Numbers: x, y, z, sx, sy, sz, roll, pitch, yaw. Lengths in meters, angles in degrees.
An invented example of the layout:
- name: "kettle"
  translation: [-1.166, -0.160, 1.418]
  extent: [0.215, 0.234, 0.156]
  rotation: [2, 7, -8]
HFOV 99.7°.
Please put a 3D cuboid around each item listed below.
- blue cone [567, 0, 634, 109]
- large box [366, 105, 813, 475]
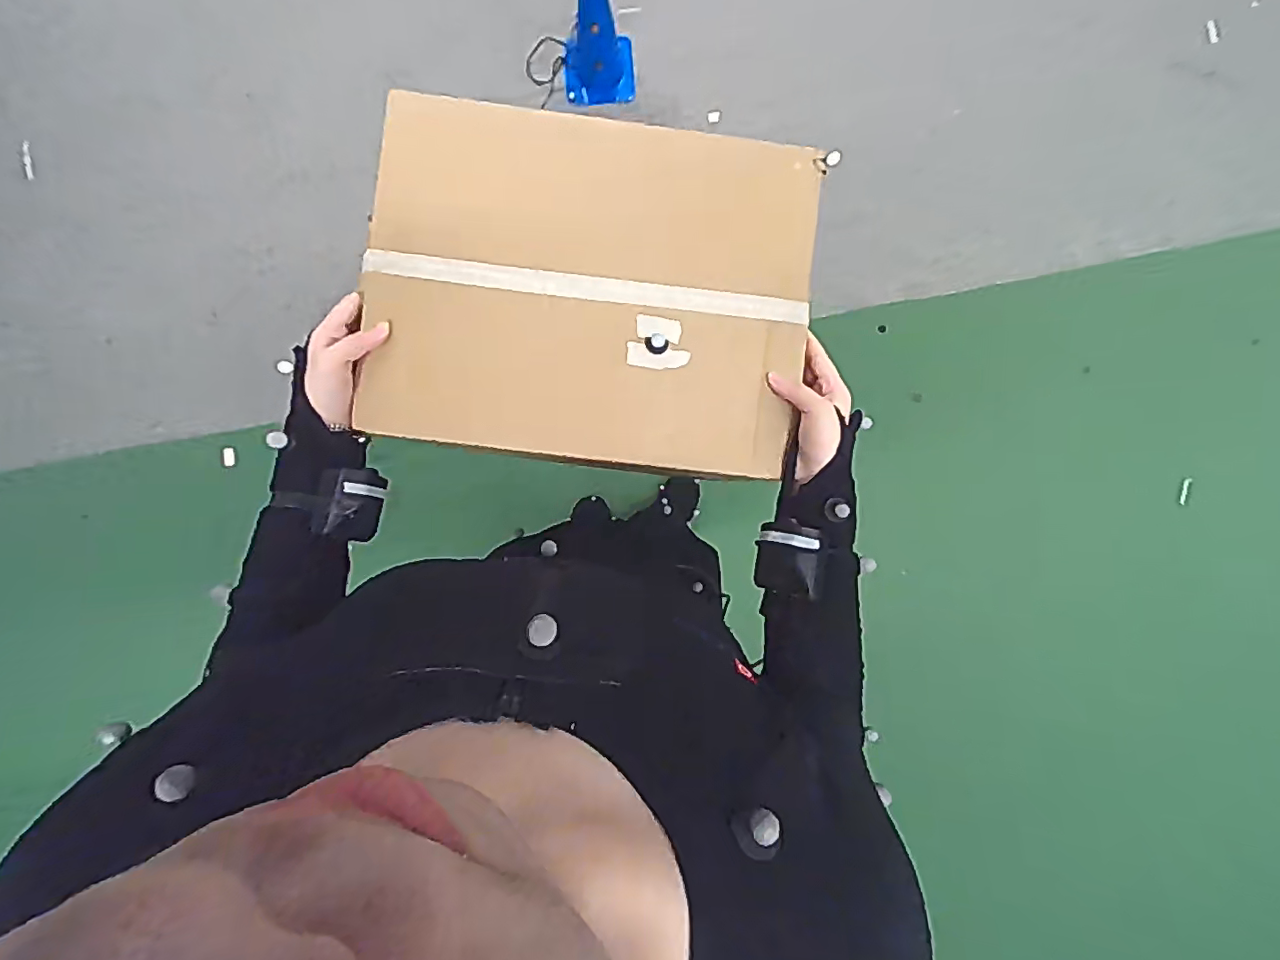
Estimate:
- name: "blue cone"
  translation: [-0.114, -1.179, 1.407]
  extent: [0.193, 0.380, 0.192]
  rotation: [-2, 88, -1]
- name: "large box"
  translation: [-0.053, -0.177, 0.655]
  extent: [0.408, 0.320, 0.320]
  rotation: [6, 90, -3]
